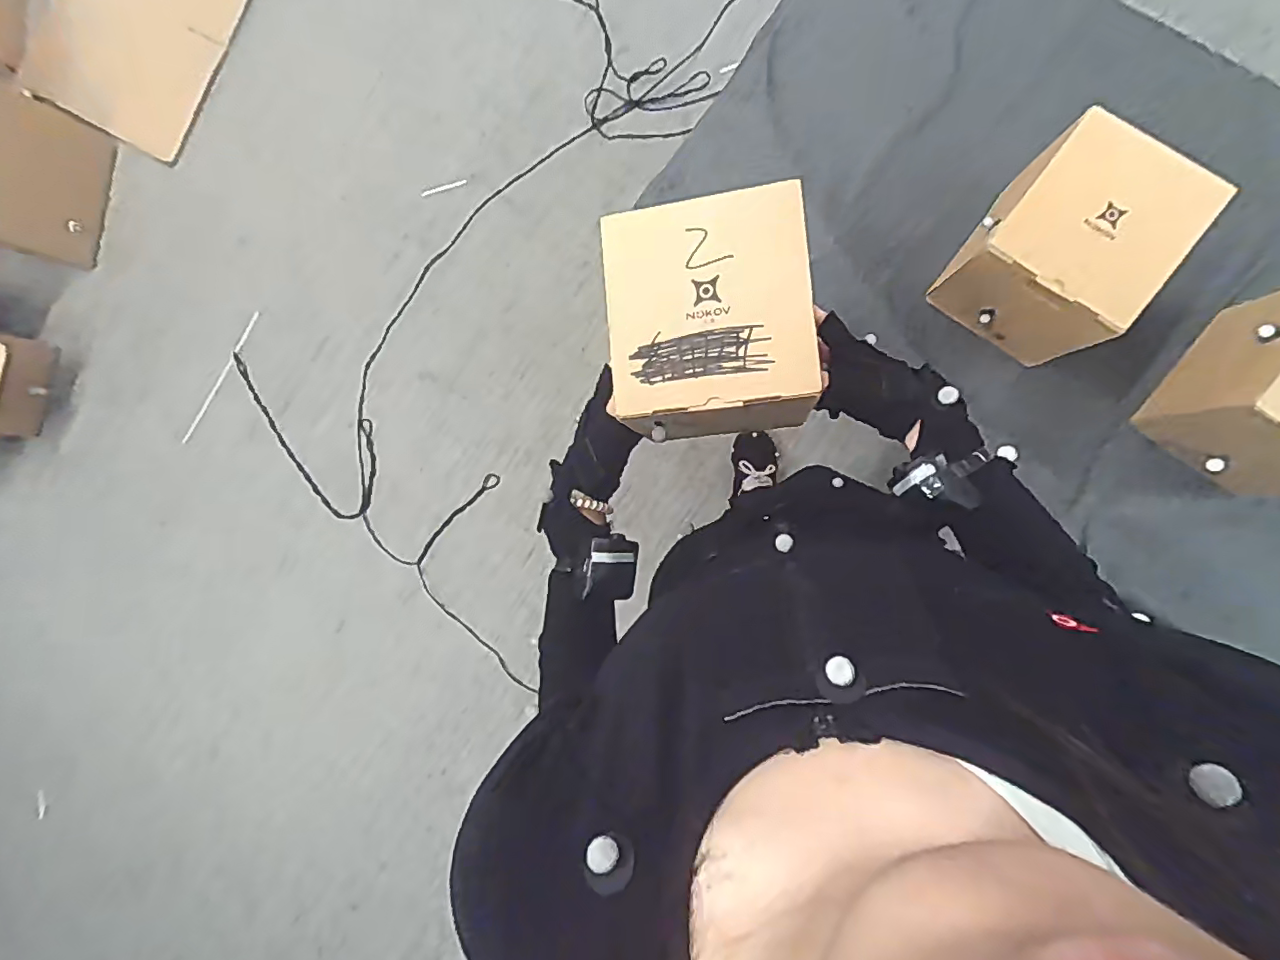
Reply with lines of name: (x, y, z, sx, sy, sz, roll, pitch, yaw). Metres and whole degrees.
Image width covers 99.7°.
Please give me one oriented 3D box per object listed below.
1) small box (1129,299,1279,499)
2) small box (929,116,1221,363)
small box: (0.728, -0.093, 0.610, 0.168, 0.176, 0.179, 37, 94, 6)
small box: (0.486, -0.265, 0.640, 0.168, 0.176, 0.179, 36, 95, 4)
